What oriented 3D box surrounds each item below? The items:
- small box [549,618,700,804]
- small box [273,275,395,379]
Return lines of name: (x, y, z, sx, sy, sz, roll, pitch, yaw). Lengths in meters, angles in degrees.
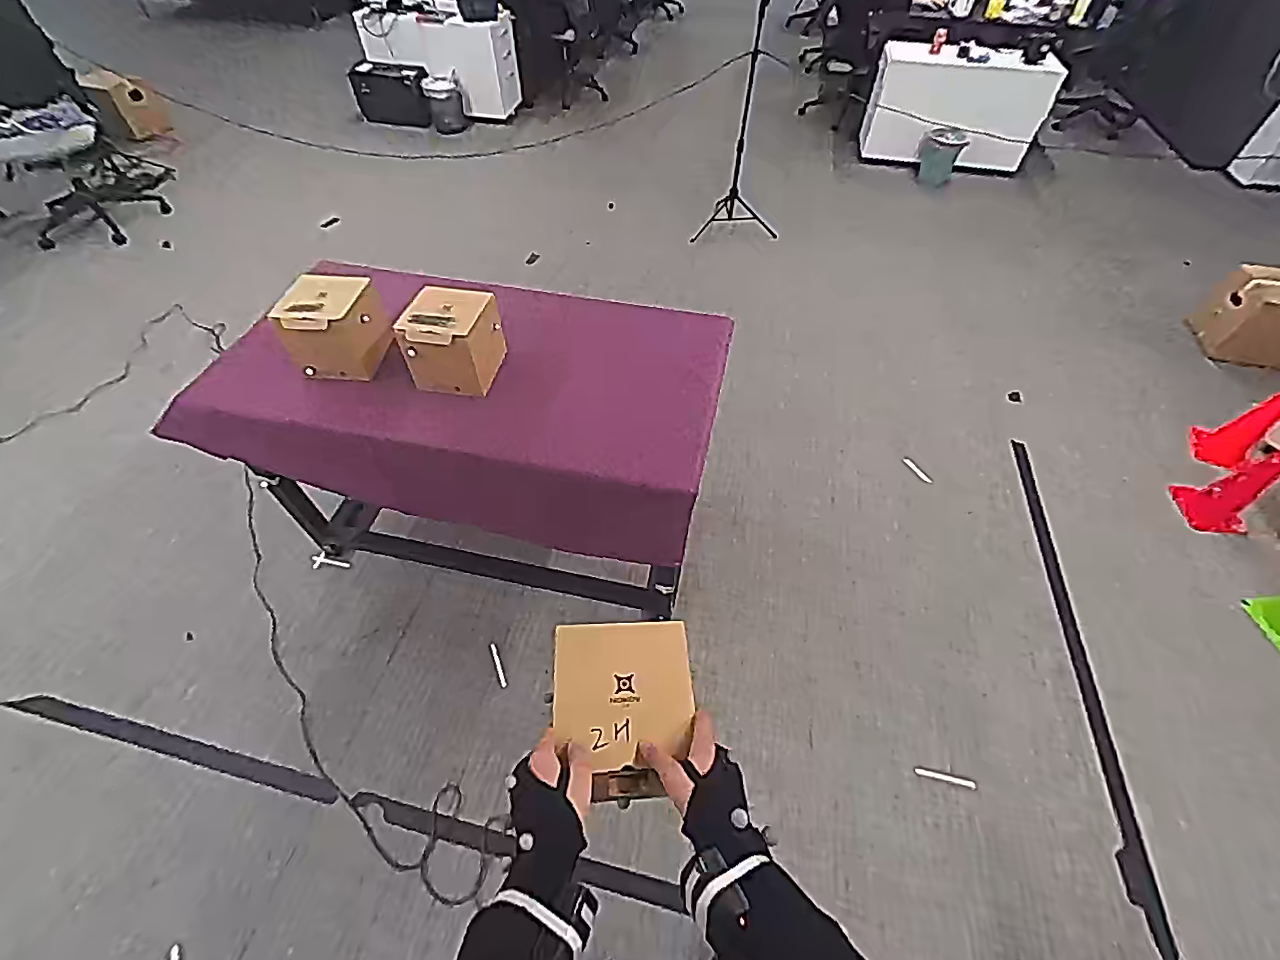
small box: (-0.027, 0.295, 0.691, 0.168, 0.176, 0.179, -2, 51, -5)
small box: (-0.704, -0.356, 1.270, 0.168, 0.176, 0.179, 3, 51, 1)
